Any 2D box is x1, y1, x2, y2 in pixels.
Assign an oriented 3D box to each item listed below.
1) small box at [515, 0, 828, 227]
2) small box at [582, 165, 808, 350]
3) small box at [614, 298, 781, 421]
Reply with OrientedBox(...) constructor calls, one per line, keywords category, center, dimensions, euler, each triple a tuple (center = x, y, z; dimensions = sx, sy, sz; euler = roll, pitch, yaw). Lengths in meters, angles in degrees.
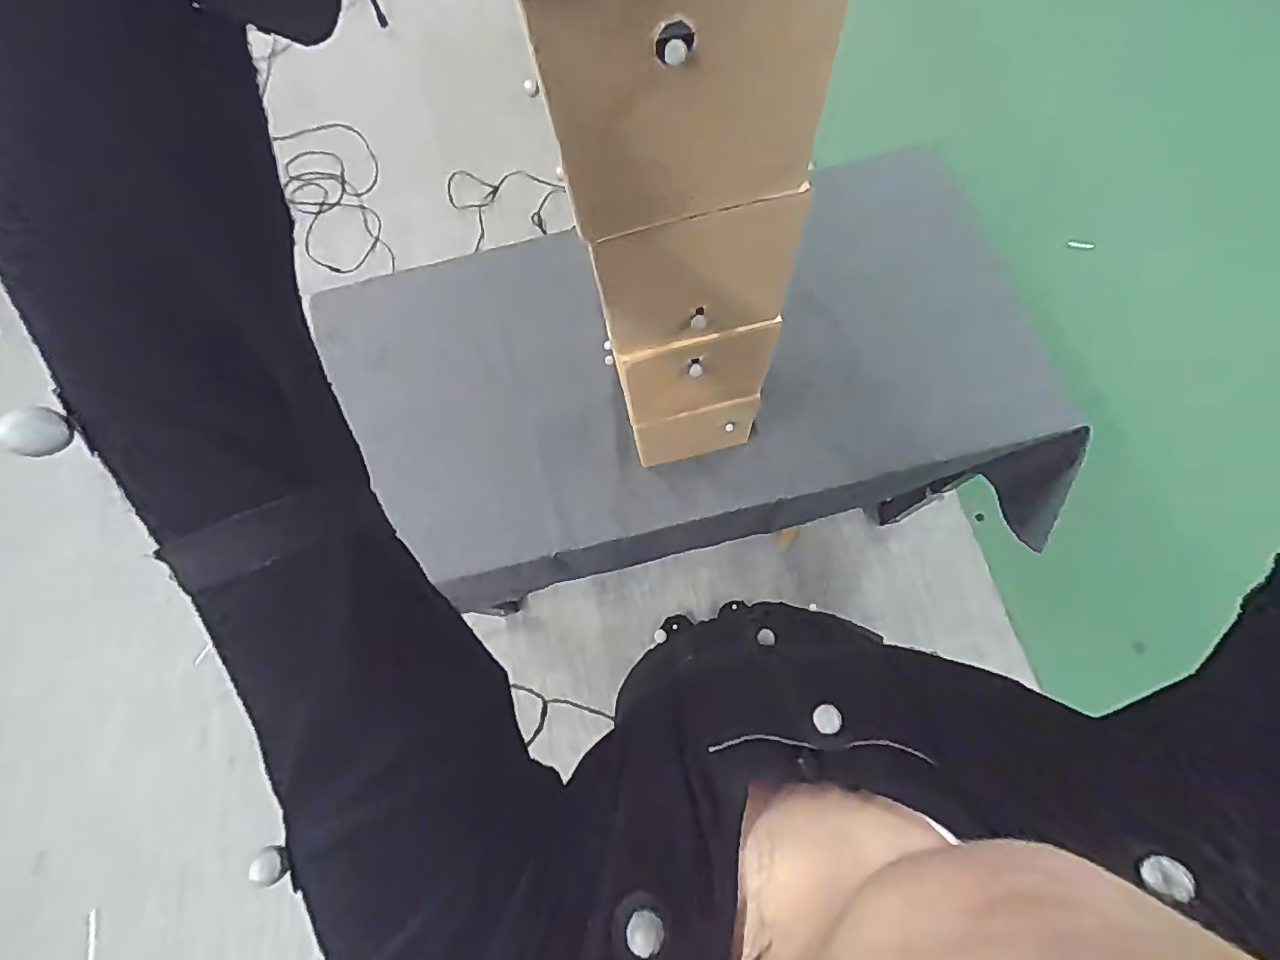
OrientedBox(category="small box", center=(0.014, -0.302, 0.359), dimensions=(0.179, 0.176, 0.168), euler=(-14, 72, 0))
OrientedBox(category="small box", center=(0.035, -0.248, 0.514), dimensions=(0.179, 0.176, 0.168), euler=(-13, 71, 1))
OrientedBox(category="small box", center=(0.053, -0.193, 0.666), dimensions=(0.179, 0.176, 0.168), euler=(-15, 71, 0))
